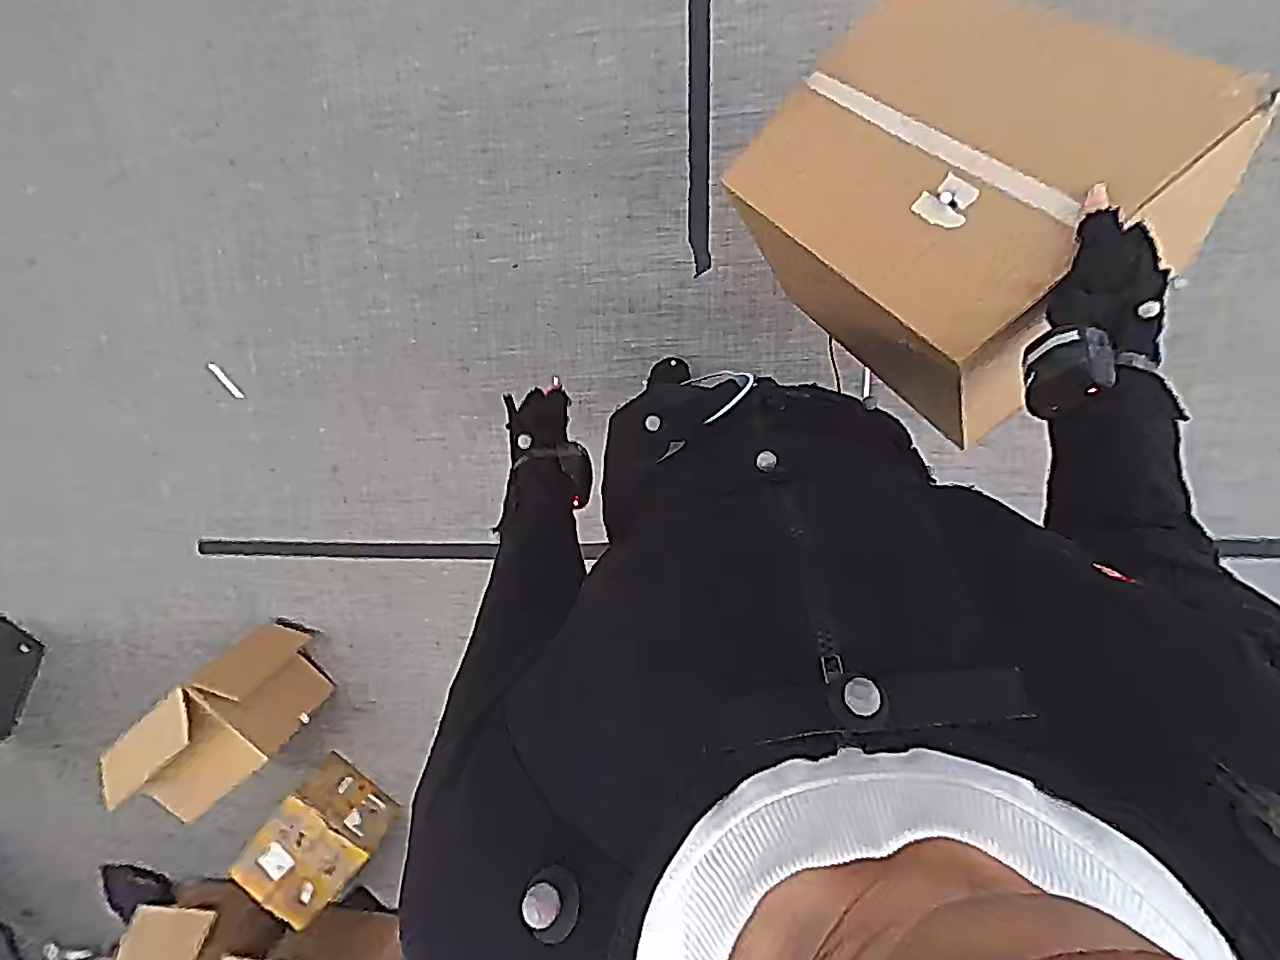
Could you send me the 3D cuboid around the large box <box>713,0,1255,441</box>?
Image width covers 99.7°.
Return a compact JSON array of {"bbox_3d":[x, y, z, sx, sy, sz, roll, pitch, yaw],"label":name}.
[{"bbox_3d":[0.374,-0.319,0.701,0.320,0.320,0.408,-45,61,16],"label":"large box"}]
